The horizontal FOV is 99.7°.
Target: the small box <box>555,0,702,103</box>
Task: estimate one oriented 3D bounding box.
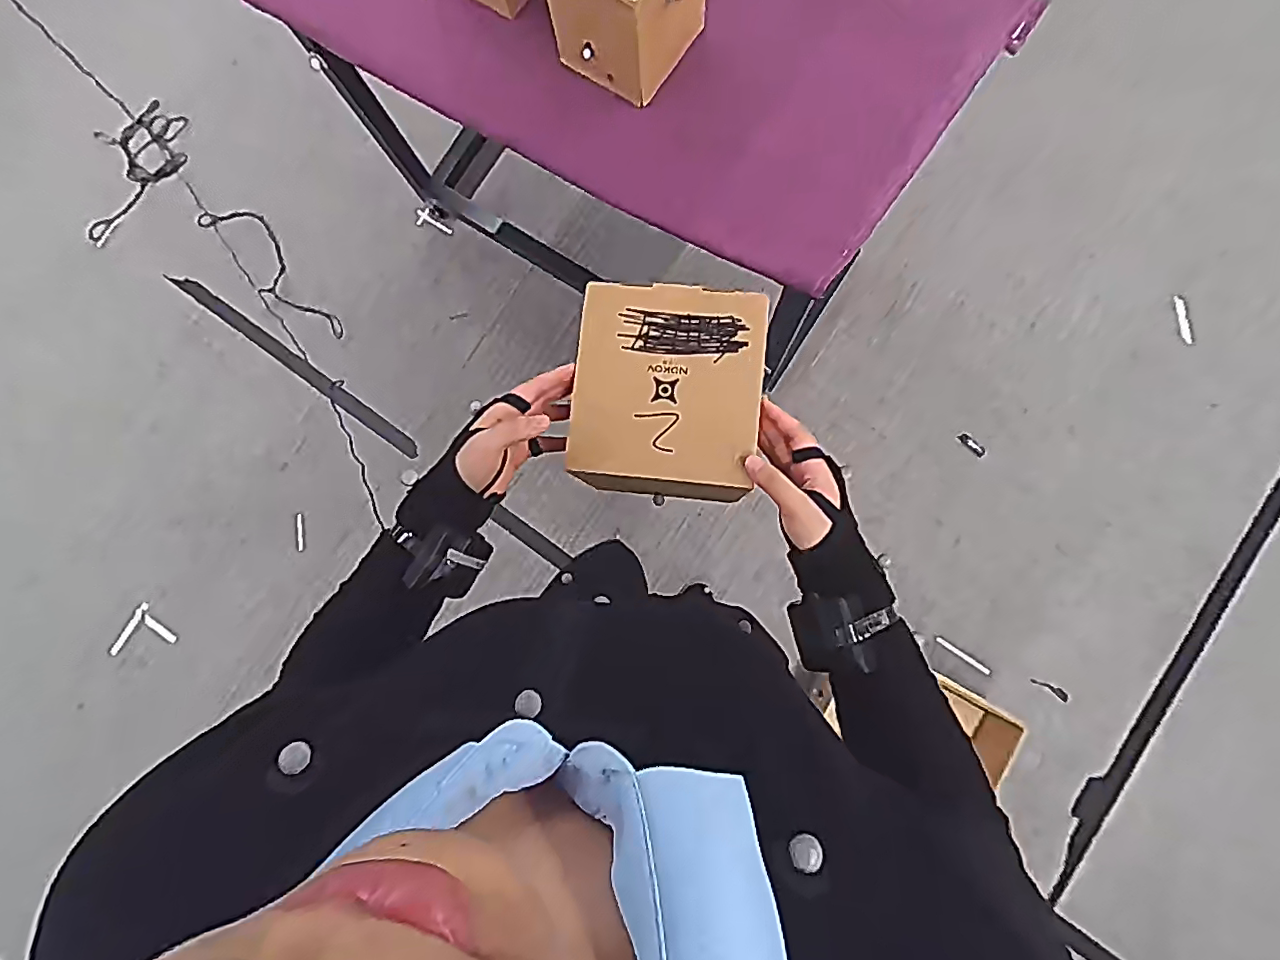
[{"bbox_3d":[-0.016,-0.714,0.789,0.168,0.176,0.179,35,86,7],"label":"small box"}]

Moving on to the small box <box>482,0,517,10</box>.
[{"bbox_3d":[-0.240,-0.883,0.825,0.179,0.176,0.168,35,86,7],"label":"small box"}]
